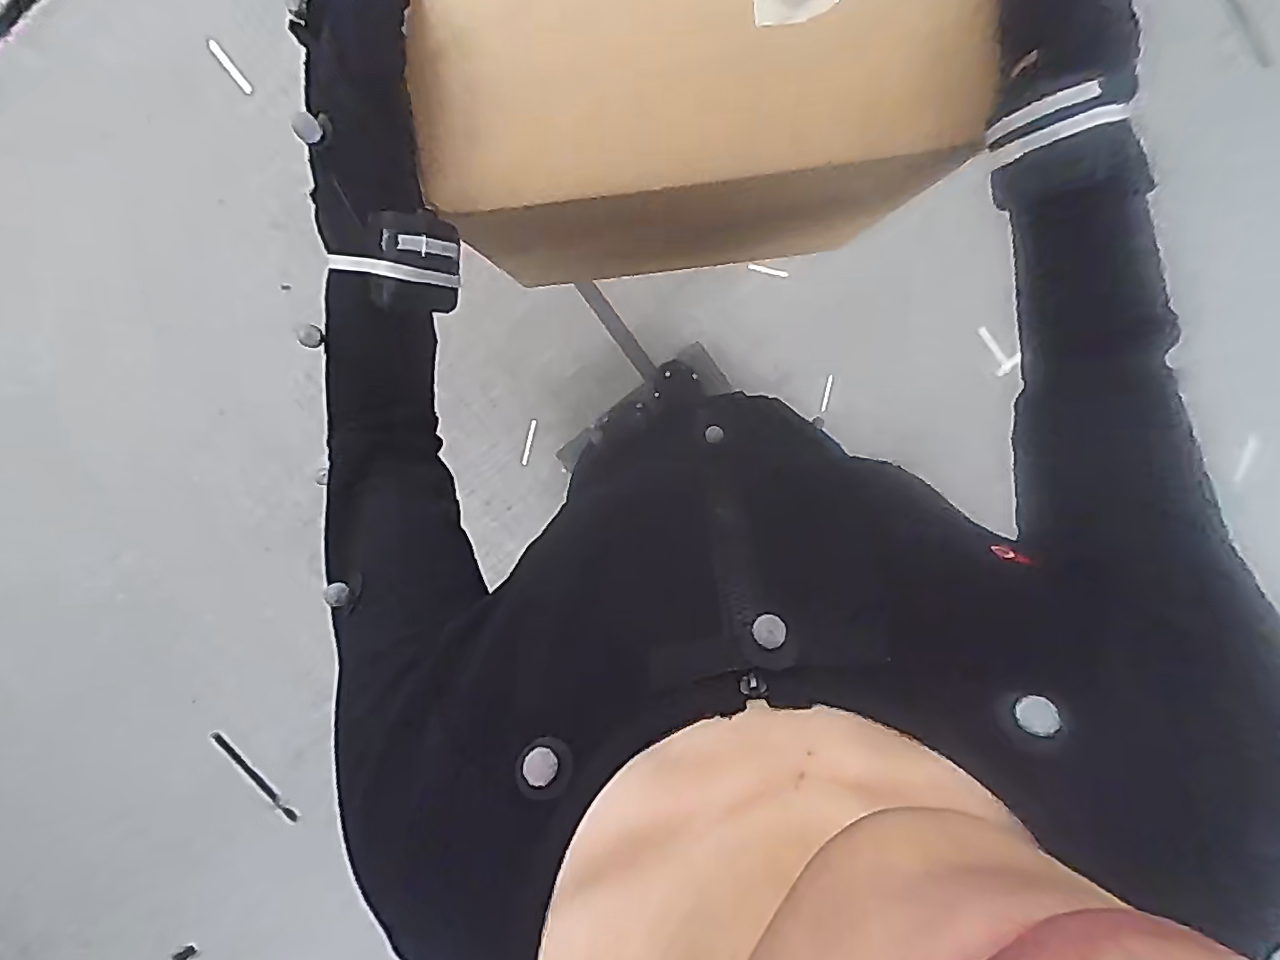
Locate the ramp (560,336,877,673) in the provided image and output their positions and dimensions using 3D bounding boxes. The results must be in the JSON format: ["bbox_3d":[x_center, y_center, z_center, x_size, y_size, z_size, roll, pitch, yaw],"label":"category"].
[{"bbox_3d":[0.270,0.124,1.594,0.509,0.206,0.991,-40,98,5],"label":"ramp"}]

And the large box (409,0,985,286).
[{"bbox_3d":[0.033,-0.394,0.516,0.408,0.320,0.320,-6,100,2],"label":"large box"}]
